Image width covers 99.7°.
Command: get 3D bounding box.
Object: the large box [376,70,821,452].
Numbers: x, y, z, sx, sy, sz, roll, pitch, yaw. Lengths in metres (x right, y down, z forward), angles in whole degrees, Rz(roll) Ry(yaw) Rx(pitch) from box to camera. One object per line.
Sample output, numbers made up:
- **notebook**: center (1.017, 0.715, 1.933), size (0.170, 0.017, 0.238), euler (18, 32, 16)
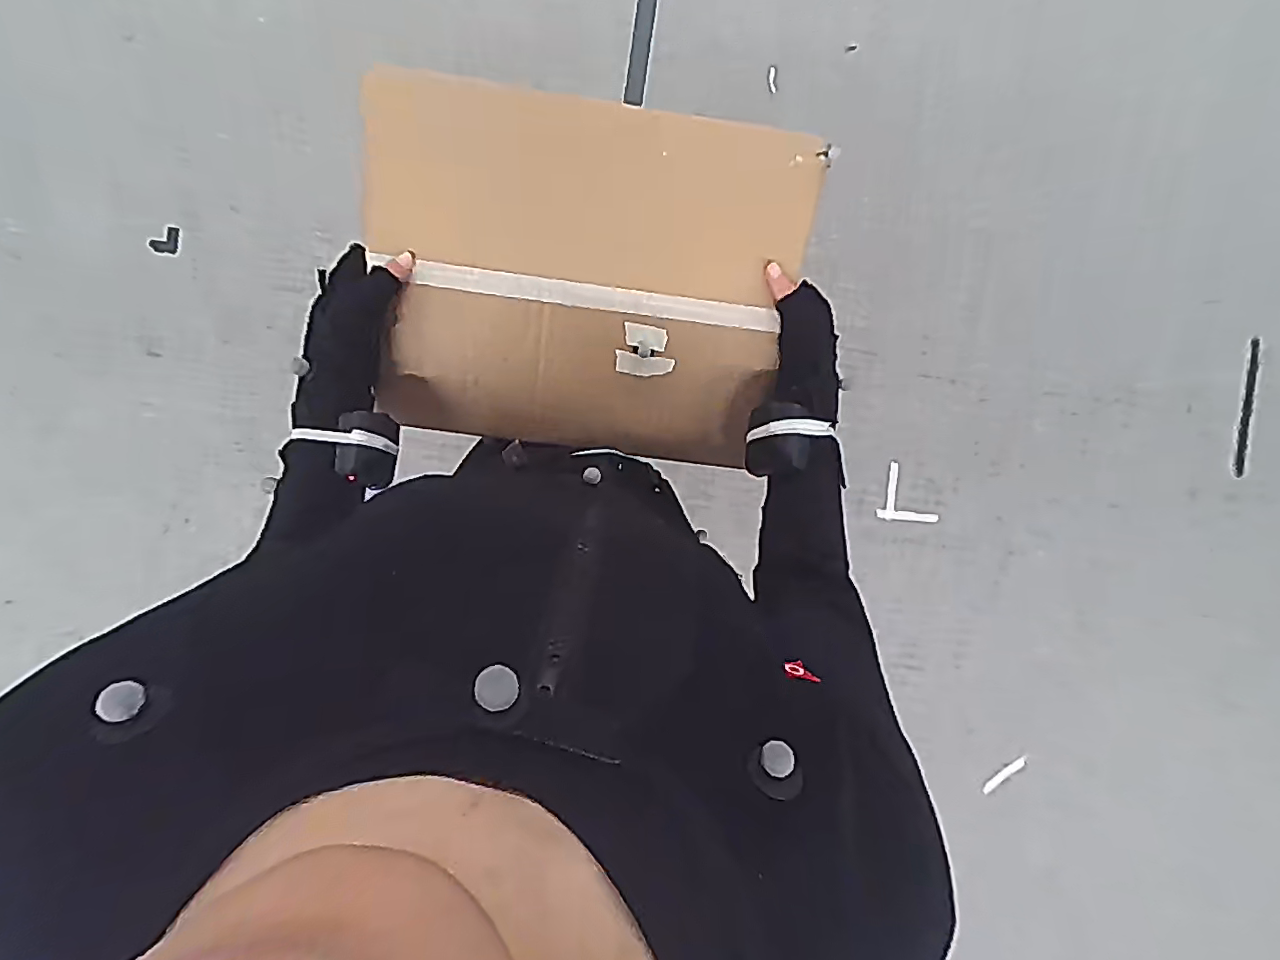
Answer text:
- **large box**: center (-0.053, -0.248, 0.668), size (0.408, 0.320, 0.320), euler (7, 113, -3)
